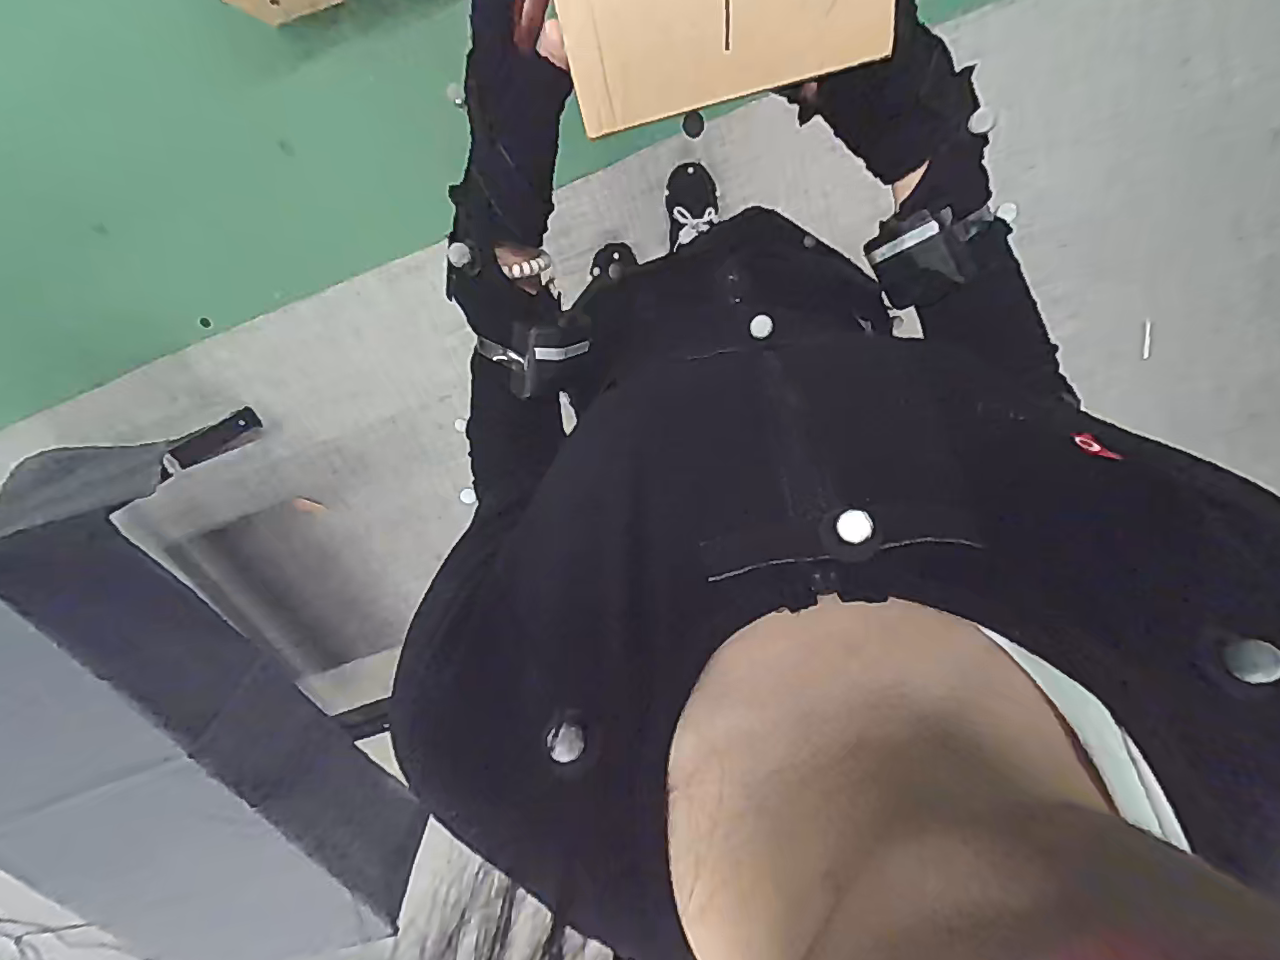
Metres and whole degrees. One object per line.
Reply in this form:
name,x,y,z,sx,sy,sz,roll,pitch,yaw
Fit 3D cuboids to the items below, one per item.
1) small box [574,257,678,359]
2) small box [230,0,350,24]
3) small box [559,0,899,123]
small box,-0.038,-0.417,1.303,0.179,0.176,0.168,39,119,0
small box,-0.673,-0.976,0.989,0.168,0.176,0.179,-14,115,5
small box,0.028,-0.321,0.302,0.168,0.176,0.179,-13,123,4
